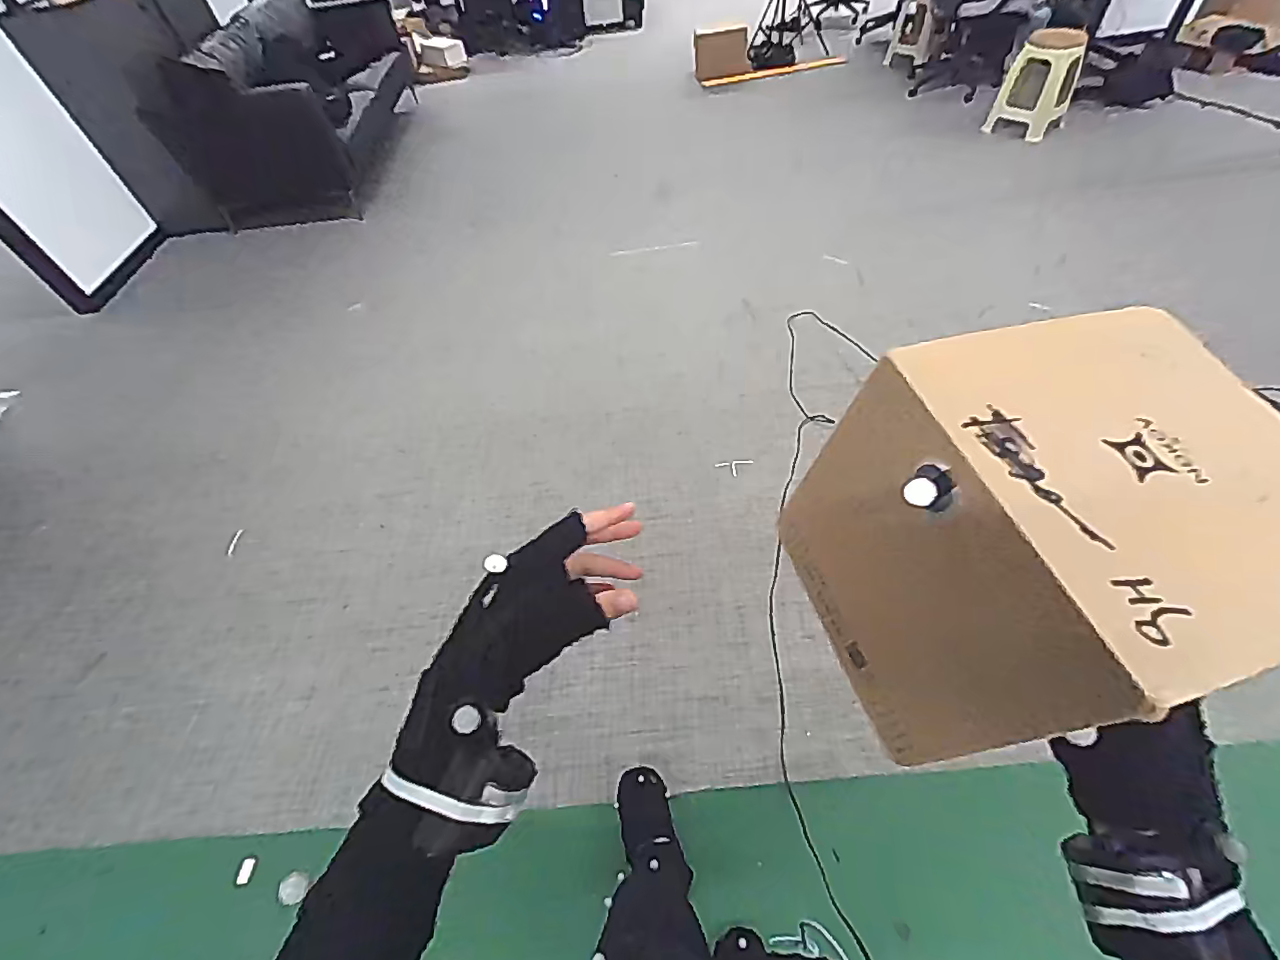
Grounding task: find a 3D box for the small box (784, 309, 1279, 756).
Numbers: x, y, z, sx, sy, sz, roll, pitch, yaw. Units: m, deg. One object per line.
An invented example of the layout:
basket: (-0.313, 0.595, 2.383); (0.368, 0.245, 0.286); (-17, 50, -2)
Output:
small box: (0.210, 0.033, 0.295); (0.179, 0.176, 0.168); (-10, 58, -15)
